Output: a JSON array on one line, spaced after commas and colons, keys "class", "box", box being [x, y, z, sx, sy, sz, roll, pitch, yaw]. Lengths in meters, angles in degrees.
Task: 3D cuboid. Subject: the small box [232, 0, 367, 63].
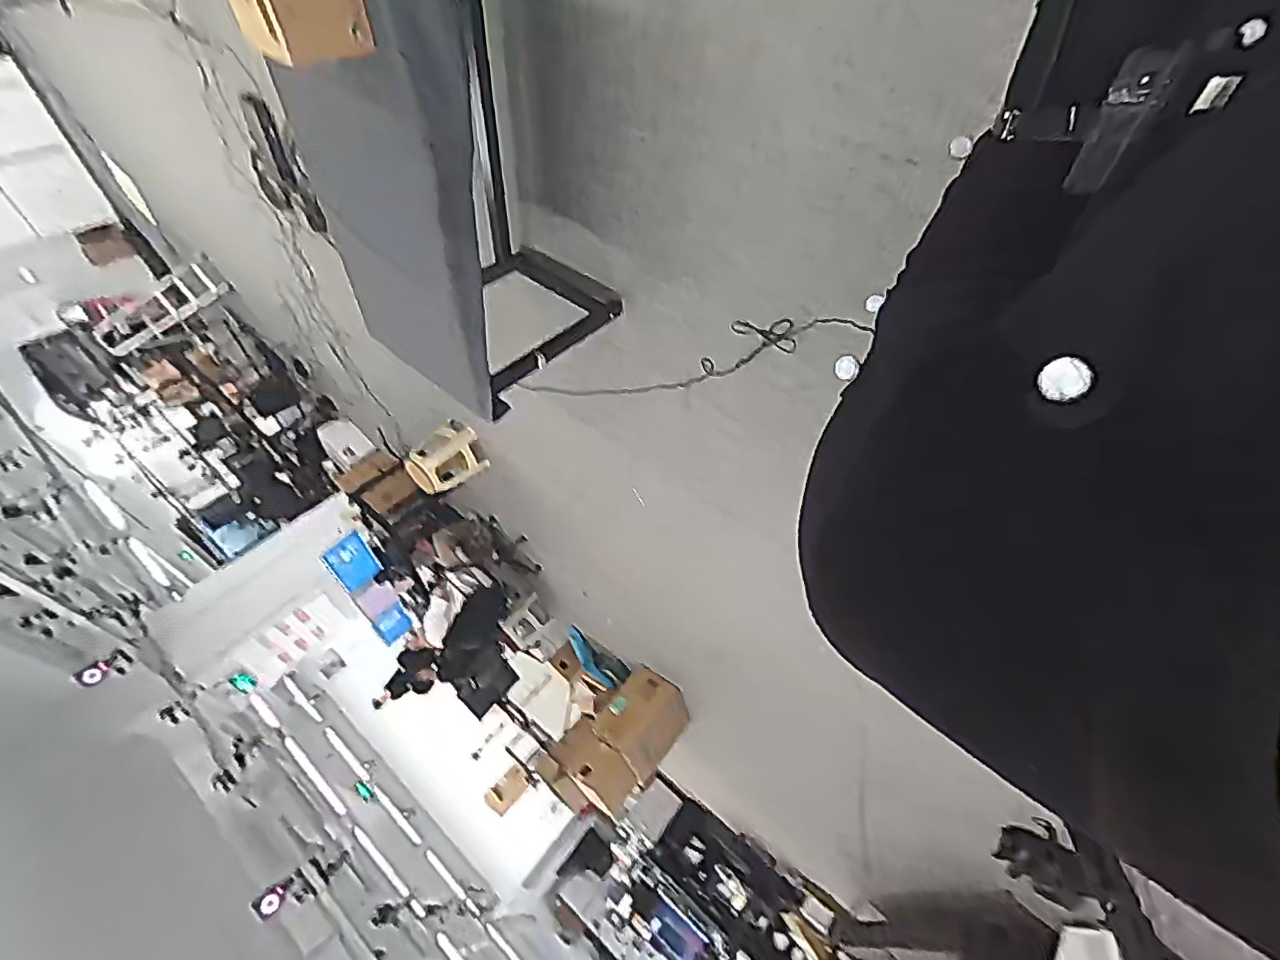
[{"class": "small box", "box": [-0.622, -0.888, 0.970, 0.179, 0.176, 0.168, 37, 149, 20]}]
